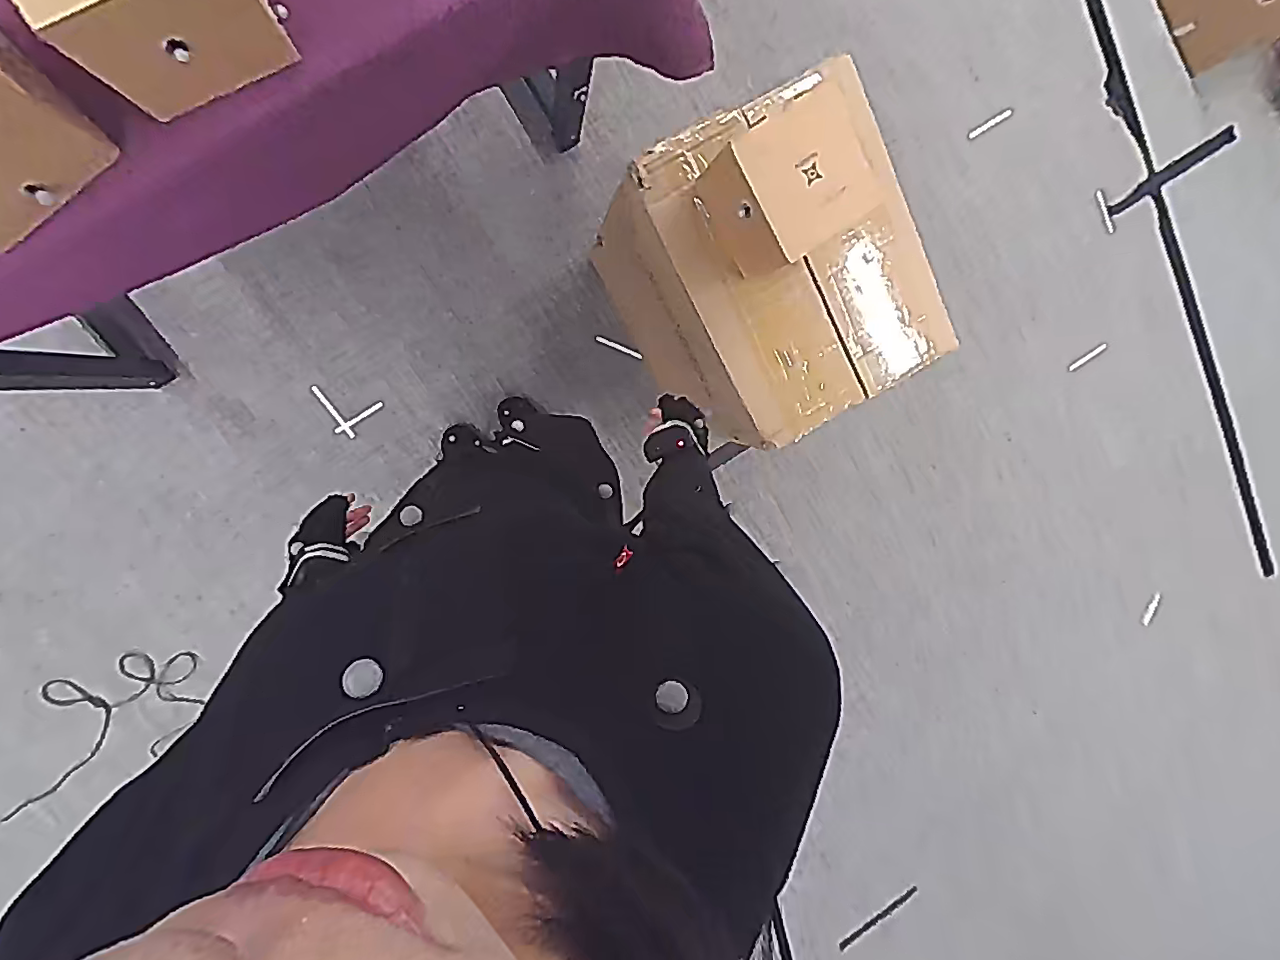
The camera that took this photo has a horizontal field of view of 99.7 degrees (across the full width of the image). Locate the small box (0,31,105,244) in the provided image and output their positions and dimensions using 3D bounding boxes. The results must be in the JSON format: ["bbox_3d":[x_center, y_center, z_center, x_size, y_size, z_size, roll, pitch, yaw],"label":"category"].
[{"bbox_3d":[-0.685,-0.364,0.515,0.179,0.176,0.168,-43,104,-3],"label":"small box"}]

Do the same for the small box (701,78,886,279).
[{"bbox_3d":[0.212,-0.422,0.791,0.168,0.176,0.179,-34,105,-2],"label":"small box"}]

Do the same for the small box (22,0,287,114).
[{"bbox_3d":[-0.489,-0.509,0.530,0.179,0.176,0.168,-29,103,-5],"label":"small box"}]
